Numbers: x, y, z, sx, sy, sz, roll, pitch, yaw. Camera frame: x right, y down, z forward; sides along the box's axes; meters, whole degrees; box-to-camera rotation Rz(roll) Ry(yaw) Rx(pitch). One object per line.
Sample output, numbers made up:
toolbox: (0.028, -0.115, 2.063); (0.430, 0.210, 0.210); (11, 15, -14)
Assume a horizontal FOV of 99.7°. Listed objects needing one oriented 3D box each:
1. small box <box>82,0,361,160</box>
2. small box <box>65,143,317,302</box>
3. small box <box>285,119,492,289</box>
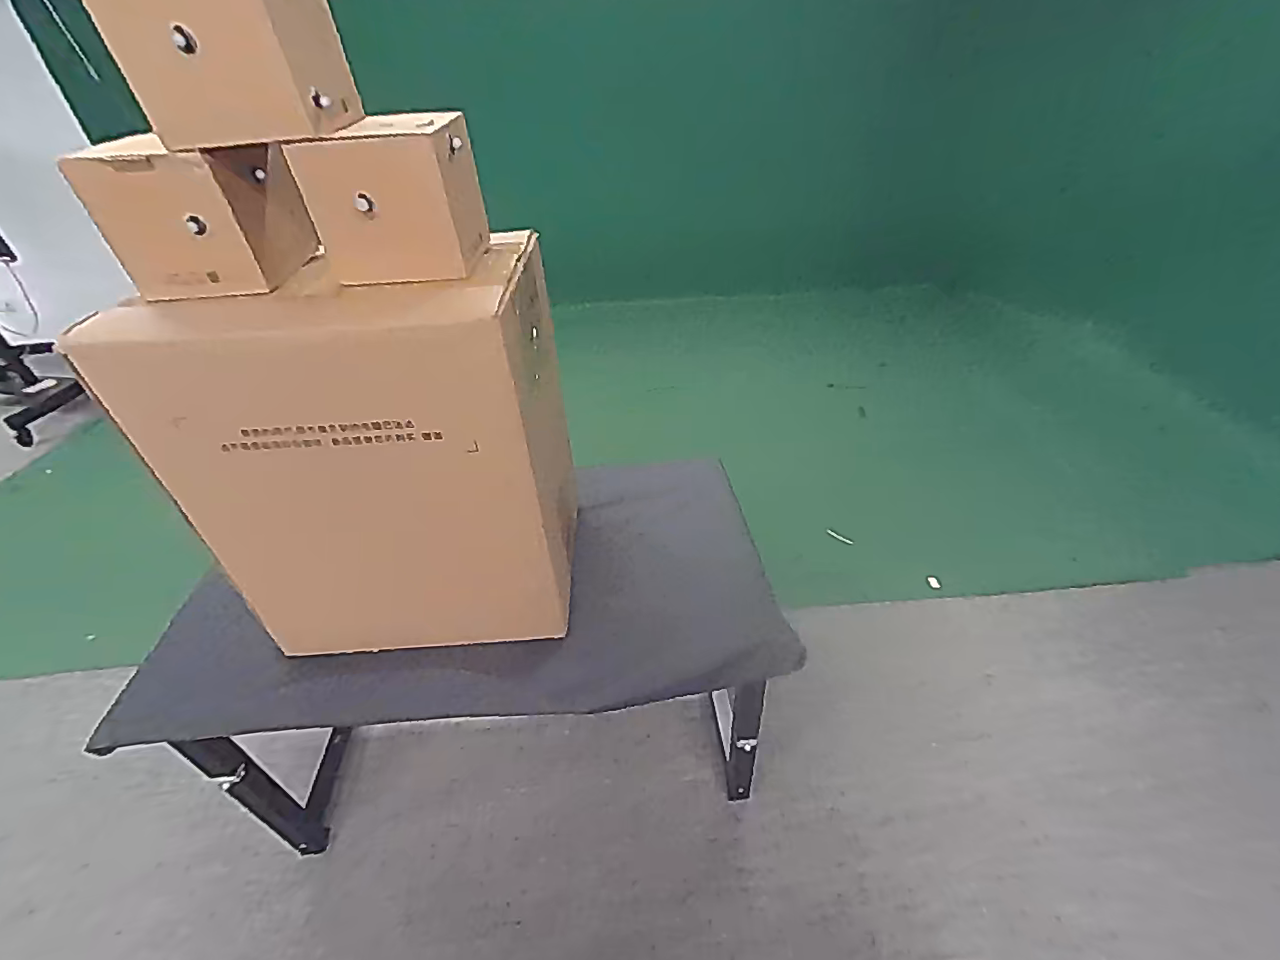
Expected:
small box: (-0.457, -0.484, 0.622); (0.179, 0.176, 0.168); (-6, 40, 1)
small box: (-0.574, -0.348, 0.728); (0.168, 0.176, 0.179); (-3, 39, -1)
small box: (-0.318, -0.369, 0.728); (0.179, 0.176, 0.168); (-4, 41, 2)
